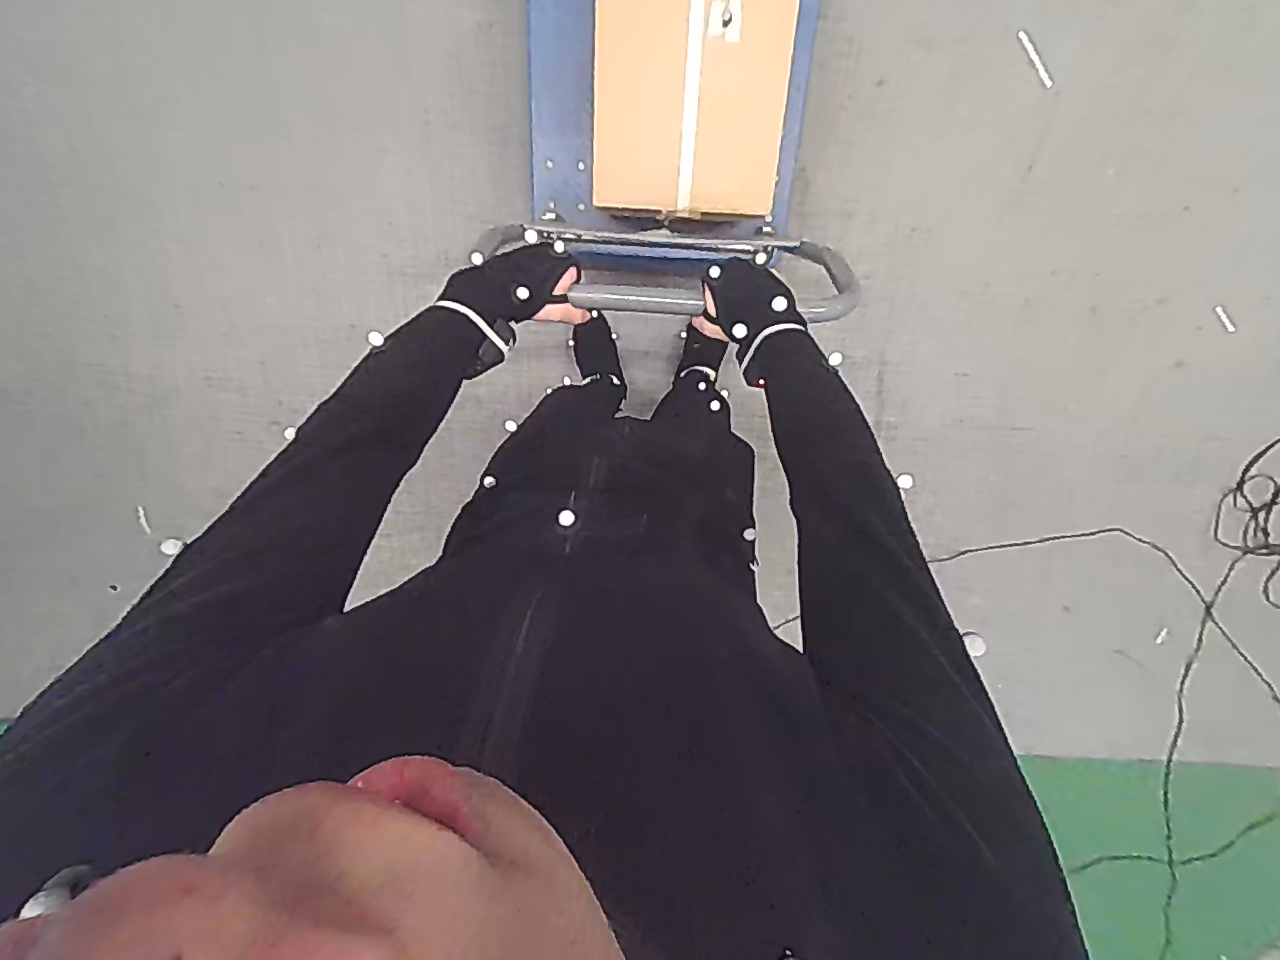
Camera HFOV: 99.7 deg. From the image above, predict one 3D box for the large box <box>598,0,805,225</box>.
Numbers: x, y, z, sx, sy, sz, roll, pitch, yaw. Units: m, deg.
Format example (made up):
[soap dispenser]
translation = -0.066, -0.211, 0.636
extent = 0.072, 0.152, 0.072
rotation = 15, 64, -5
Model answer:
[large box]
translation = 0.095, -0.698, 0.989
extent = 0.320, 0.320, 0.408
rotation = 3, 113, 0
